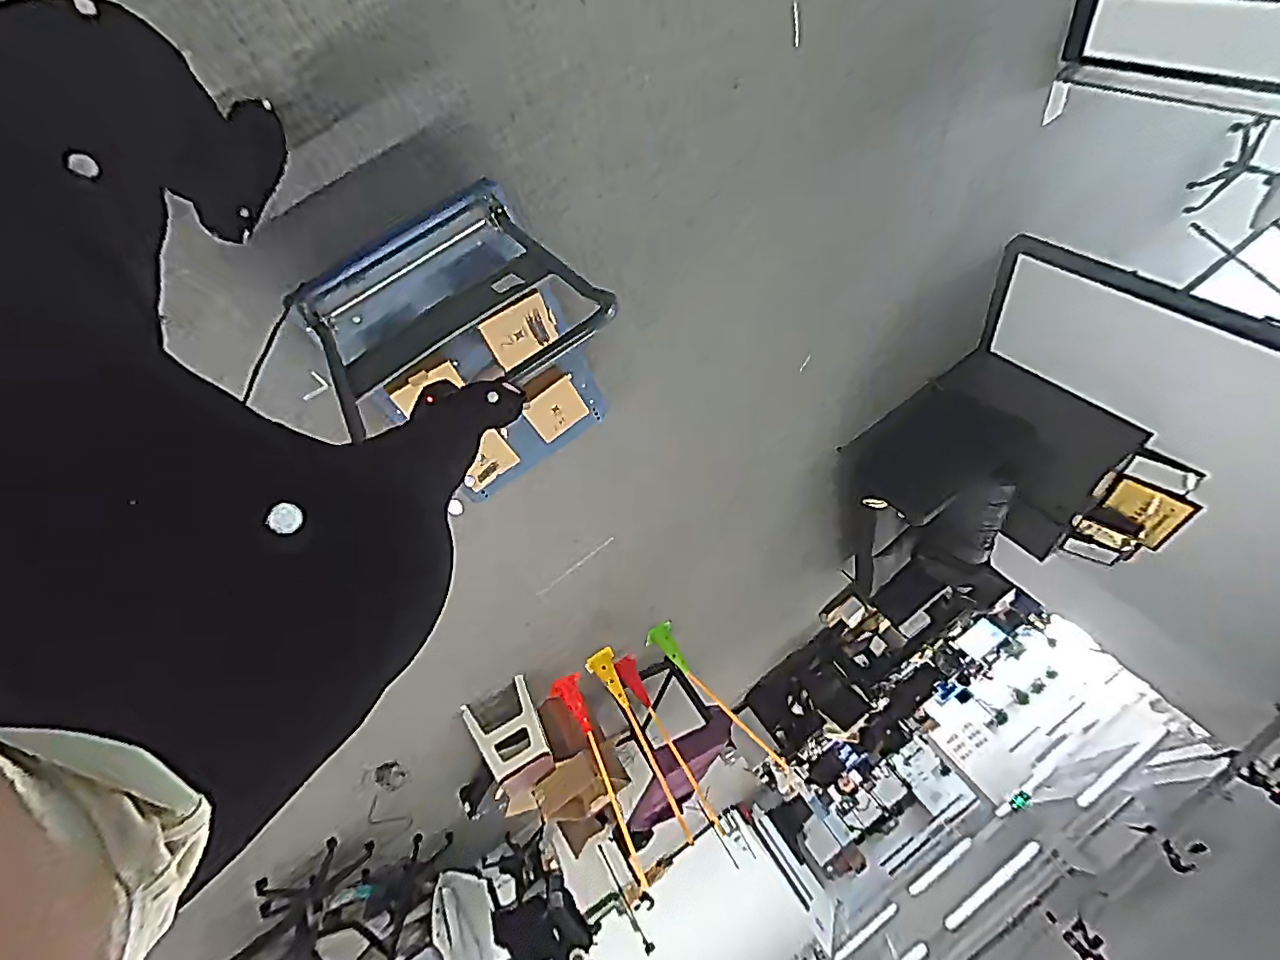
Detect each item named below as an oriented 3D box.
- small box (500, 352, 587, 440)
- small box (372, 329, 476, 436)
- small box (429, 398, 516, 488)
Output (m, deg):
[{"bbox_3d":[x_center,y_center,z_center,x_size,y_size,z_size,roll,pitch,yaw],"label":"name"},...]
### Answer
[{"bbox_3d":[-0.295,-0.262,1.633,0.168,0.176,0.179,-37,144,-4],"label":"small box"},{"bbox_3d":[-0.559,-0.255,1.404,0.168,0.176,0.179,-34,143,-9],"label":"small box"},{"bbox_3d":[-0.501,-0.115,1.601,0.168,0.176,0.179,-37,143,-6],"label":"small box"}]
